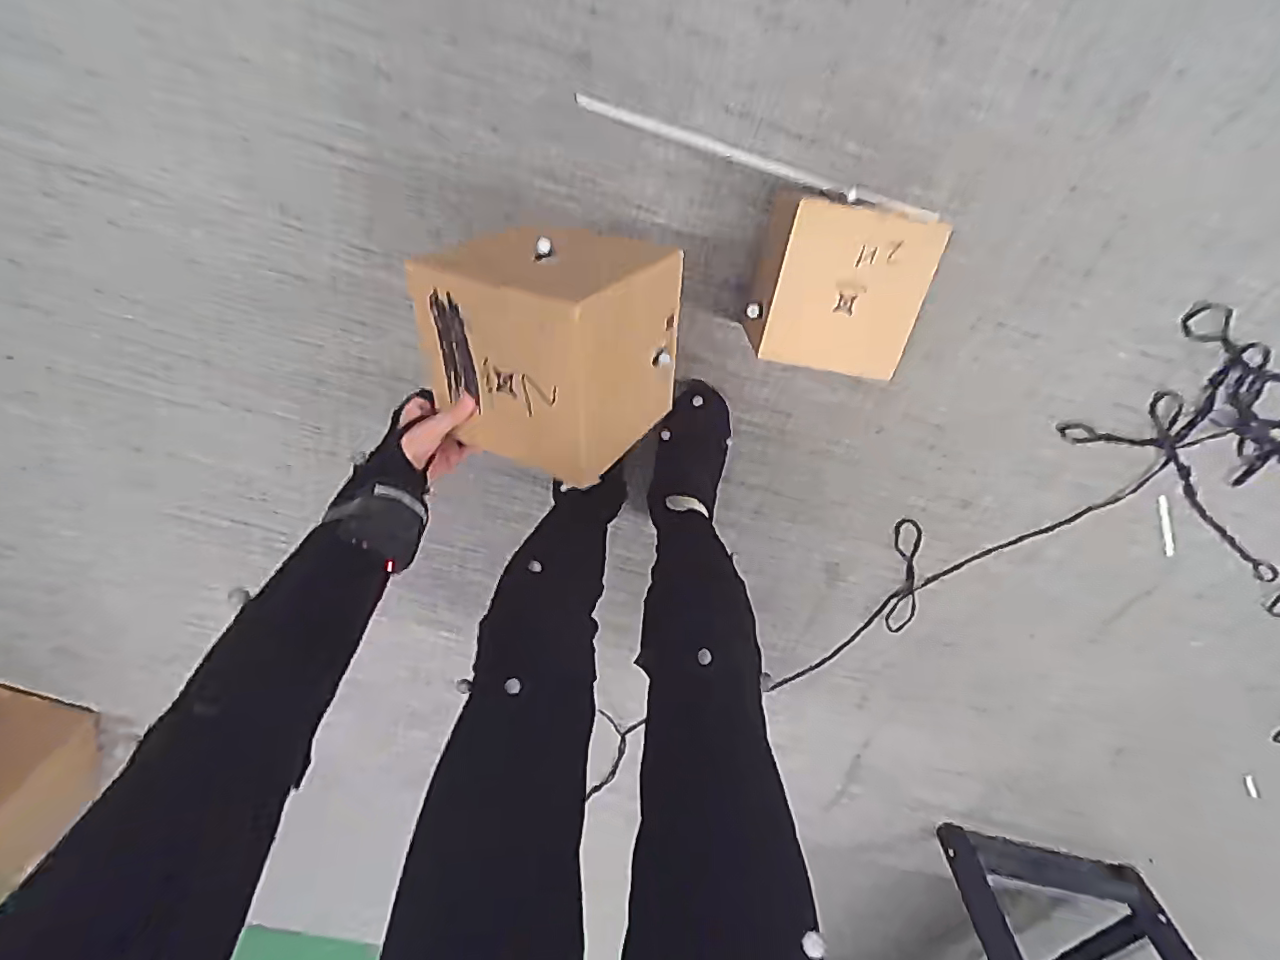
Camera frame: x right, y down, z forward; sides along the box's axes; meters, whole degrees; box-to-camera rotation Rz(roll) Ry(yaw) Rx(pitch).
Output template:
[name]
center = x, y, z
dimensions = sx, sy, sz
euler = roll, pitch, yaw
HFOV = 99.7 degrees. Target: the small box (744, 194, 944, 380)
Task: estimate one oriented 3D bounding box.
[small box]
center = 0.233, -0.246, 0.677
dimensions = 0.168, 0.176, 0.179
euler = 10, 119, -2
